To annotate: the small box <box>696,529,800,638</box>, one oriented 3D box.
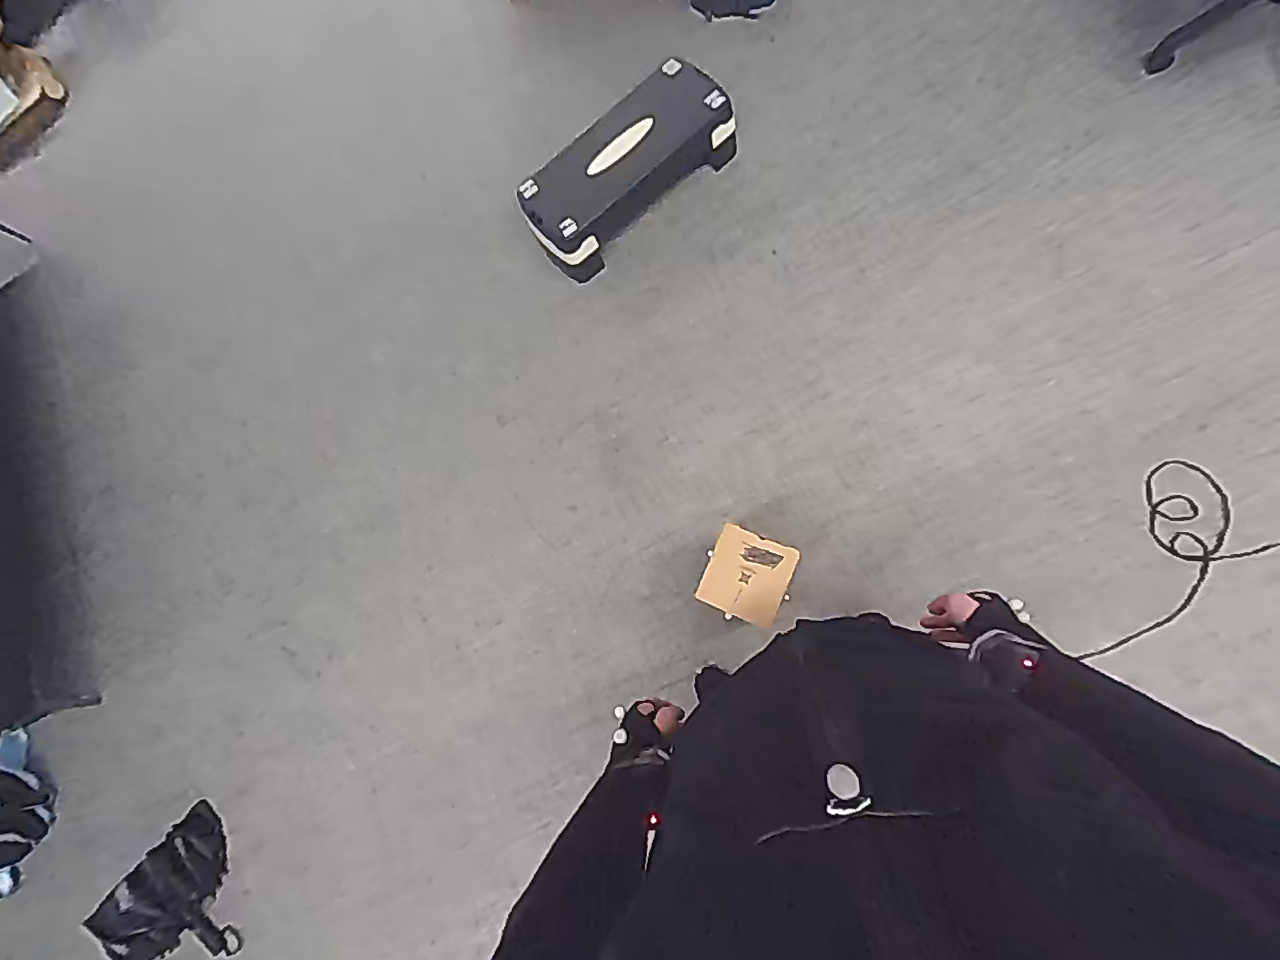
[{"bbox_3d":[0.237,0.228,1.191,0.168,0.176,0.179,22,83,16],"label":"small box"}]
